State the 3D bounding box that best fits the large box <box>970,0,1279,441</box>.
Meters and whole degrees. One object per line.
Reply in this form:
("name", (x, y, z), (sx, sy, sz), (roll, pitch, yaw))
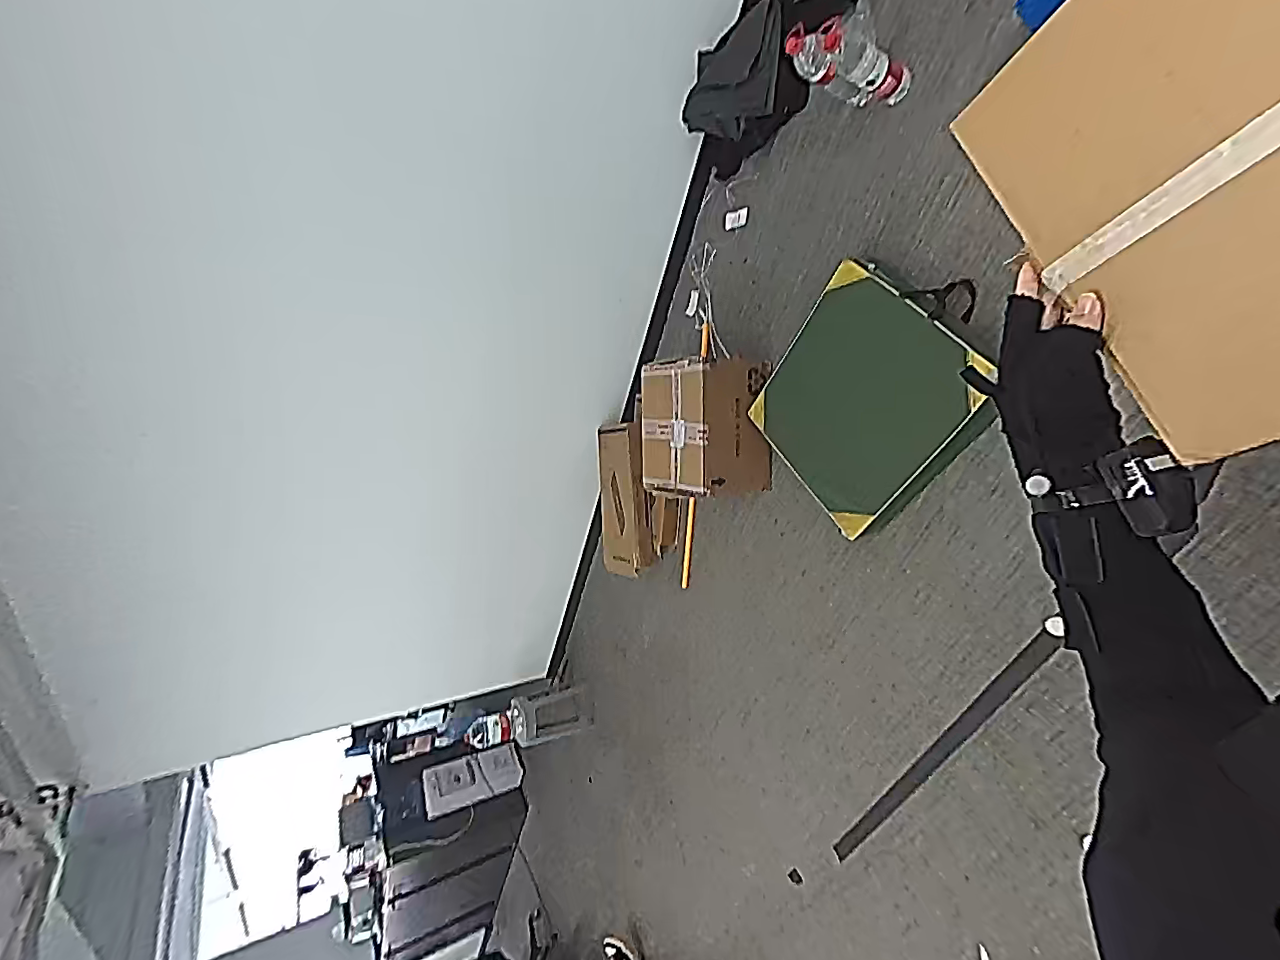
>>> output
("large box", (0.517, -0.260, 0.307), (0.408, 0.320, 0.320), (-44, 61, 55))
